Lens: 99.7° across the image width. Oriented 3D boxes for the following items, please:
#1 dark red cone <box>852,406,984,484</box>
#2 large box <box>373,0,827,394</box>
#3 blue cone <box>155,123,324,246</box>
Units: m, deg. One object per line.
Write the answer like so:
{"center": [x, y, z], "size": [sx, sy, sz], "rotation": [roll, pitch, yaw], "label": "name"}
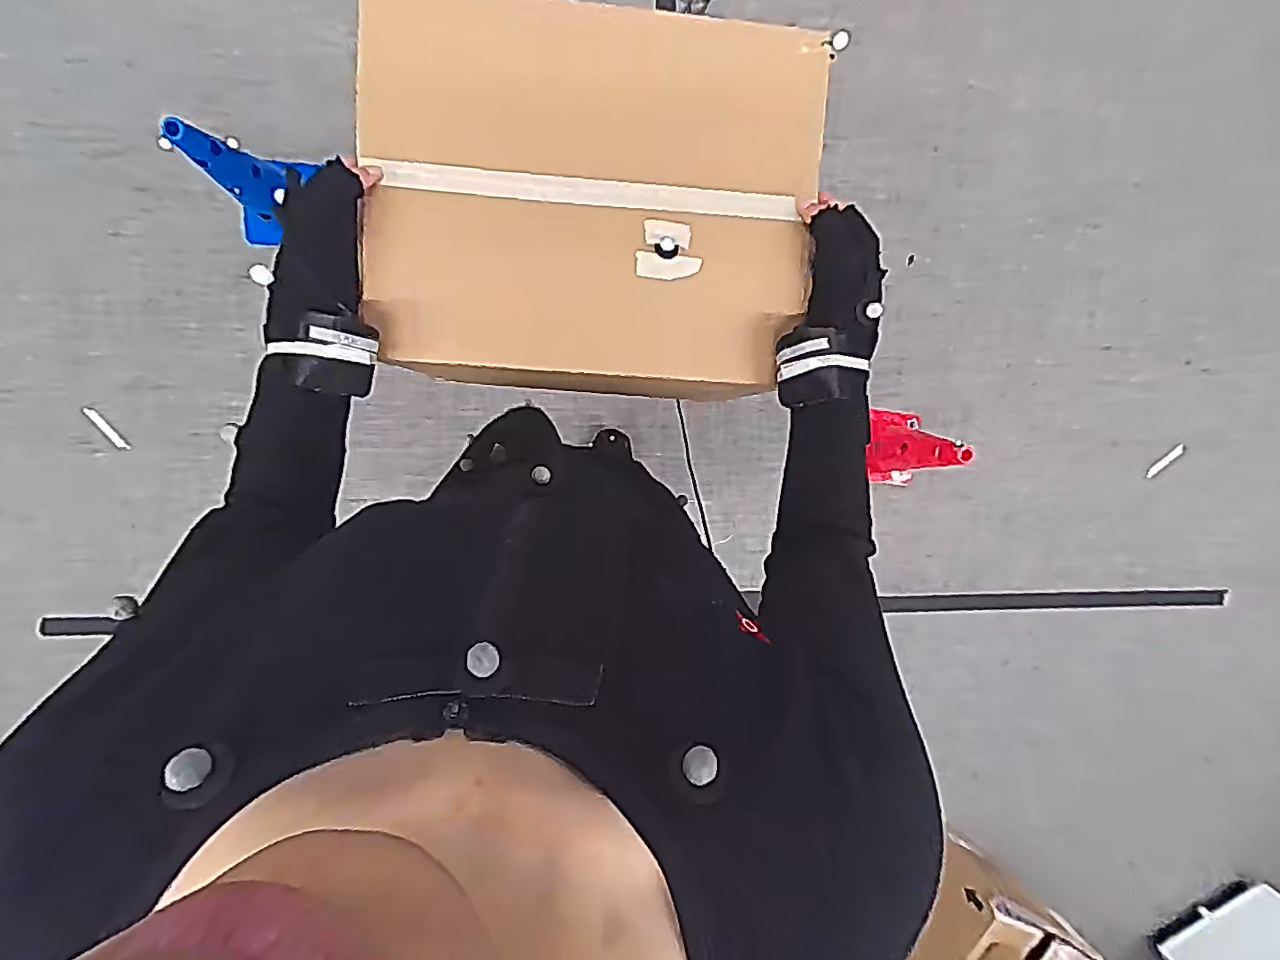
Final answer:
{"center": [0.688, -0.075, 1.309], "size": [0.201, 0.394, 0.202], "rotation": [6, 96, -3], "label": "dark red cone"}
{"center": [-0.048, -0.273, 0.633], "size": [0.408, 0.320, 0.320], "rotation": [3, 96, -5], "label": "large box"}
{"center": [-0.871, -0.660, 1.175], "size": [0.192, 0.380, 0.193], "rotation": [4, 96, -3], "label": "blue cone"}
